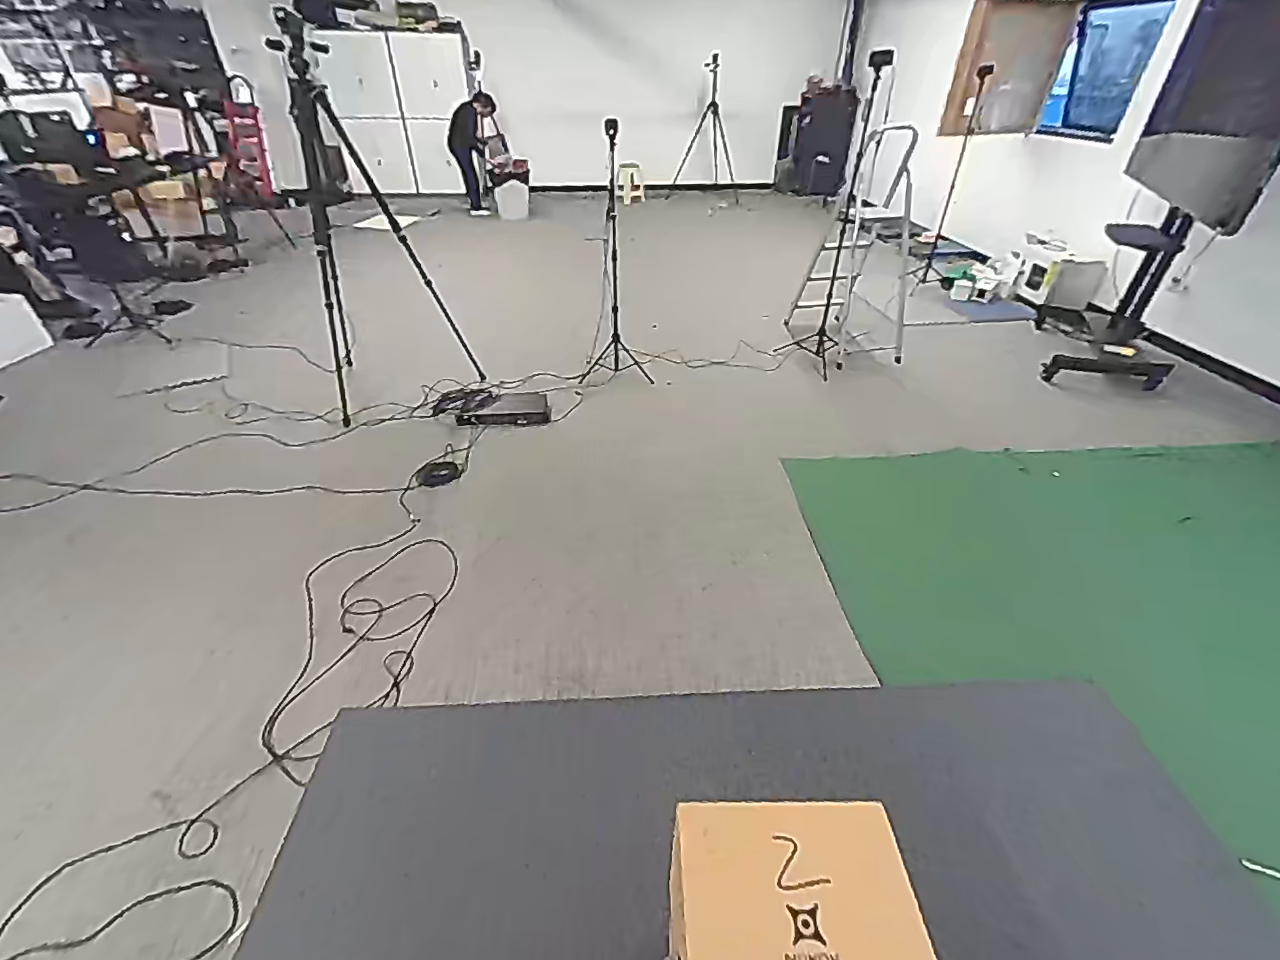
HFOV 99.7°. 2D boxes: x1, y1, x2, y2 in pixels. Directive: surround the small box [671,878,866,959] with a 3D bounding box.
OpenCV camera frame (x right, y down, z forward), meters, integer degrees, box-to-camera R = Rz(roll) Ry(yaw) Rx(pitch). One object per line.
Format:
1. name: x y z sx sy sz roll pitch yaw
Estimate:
1. small box: 0.113 0.499 0.490 0.168 0.176 0.179 1 36 2
